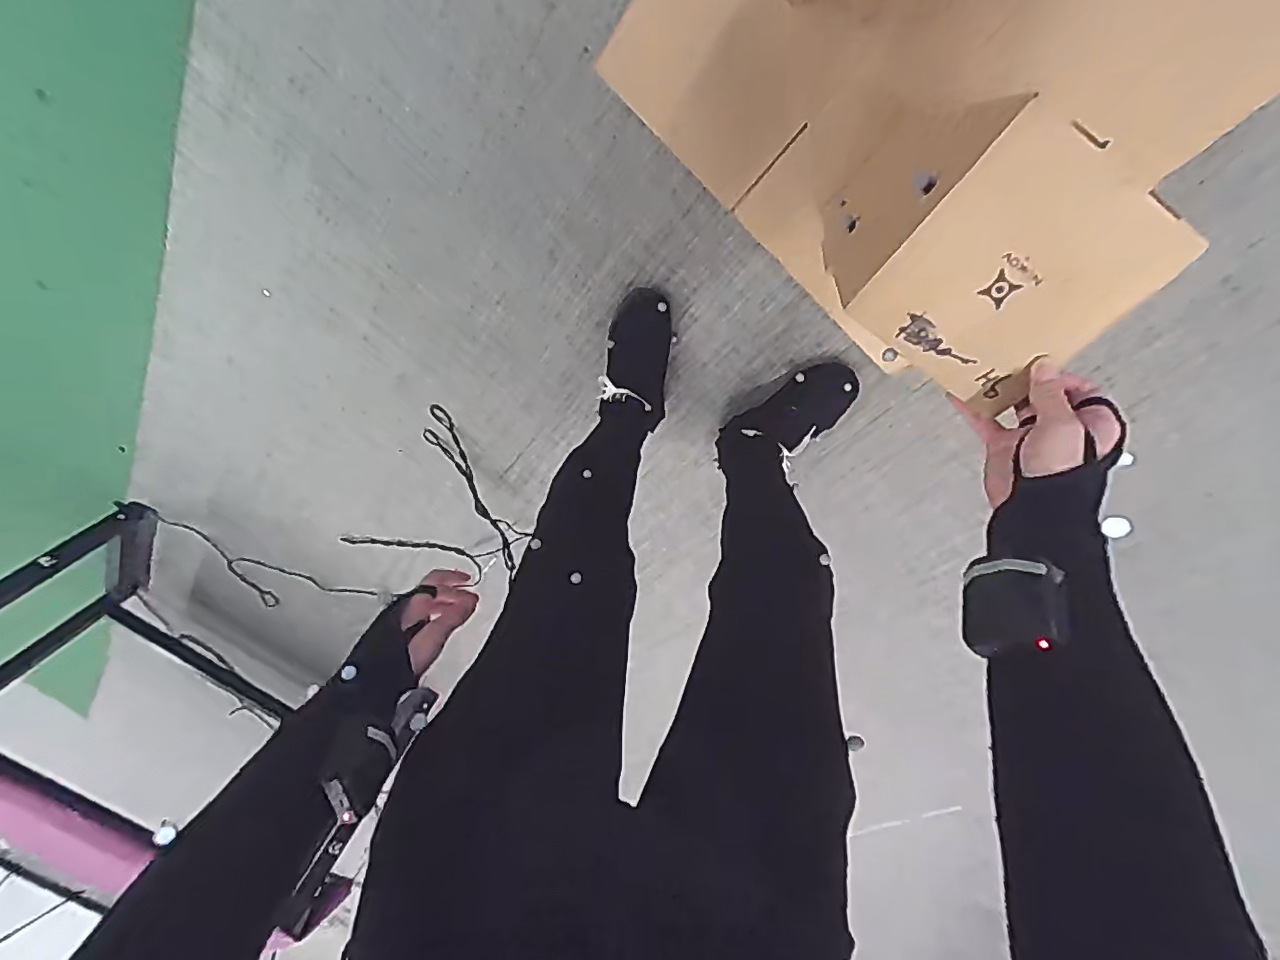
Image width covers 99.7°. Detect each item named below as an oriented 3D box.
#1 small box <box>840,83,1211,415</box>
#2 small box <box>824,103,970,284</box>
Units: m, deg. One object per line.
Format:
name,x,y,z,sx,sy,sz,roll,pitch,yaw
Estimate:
small box,0.294,-0.196,0.466,0.168,0.176,0.179,34,124,-7
small box,0.328,-0.279,0.604,0.168,0.176,0.179,35,125,-8
